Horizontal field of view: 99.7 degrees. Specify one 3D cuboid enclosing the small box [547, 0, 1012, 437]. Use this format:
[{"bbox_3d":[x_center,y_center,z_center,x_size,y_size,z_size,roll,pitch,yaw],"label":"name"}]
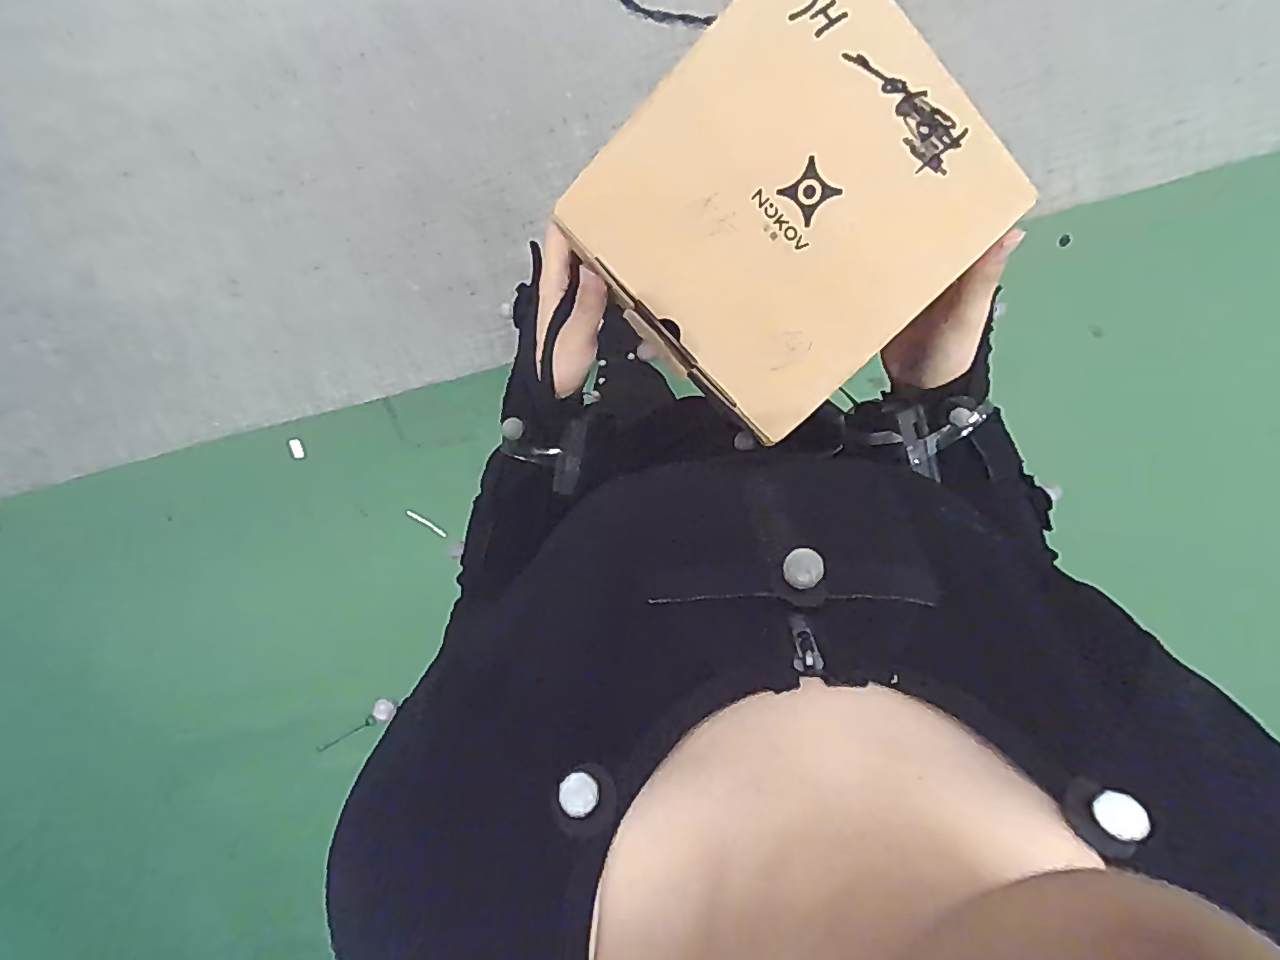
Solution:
[{"bbox_3d":[0.071,-0.154,0.348,0.168,0.176,0.179,44,101,-9],"label":"small box"}]
